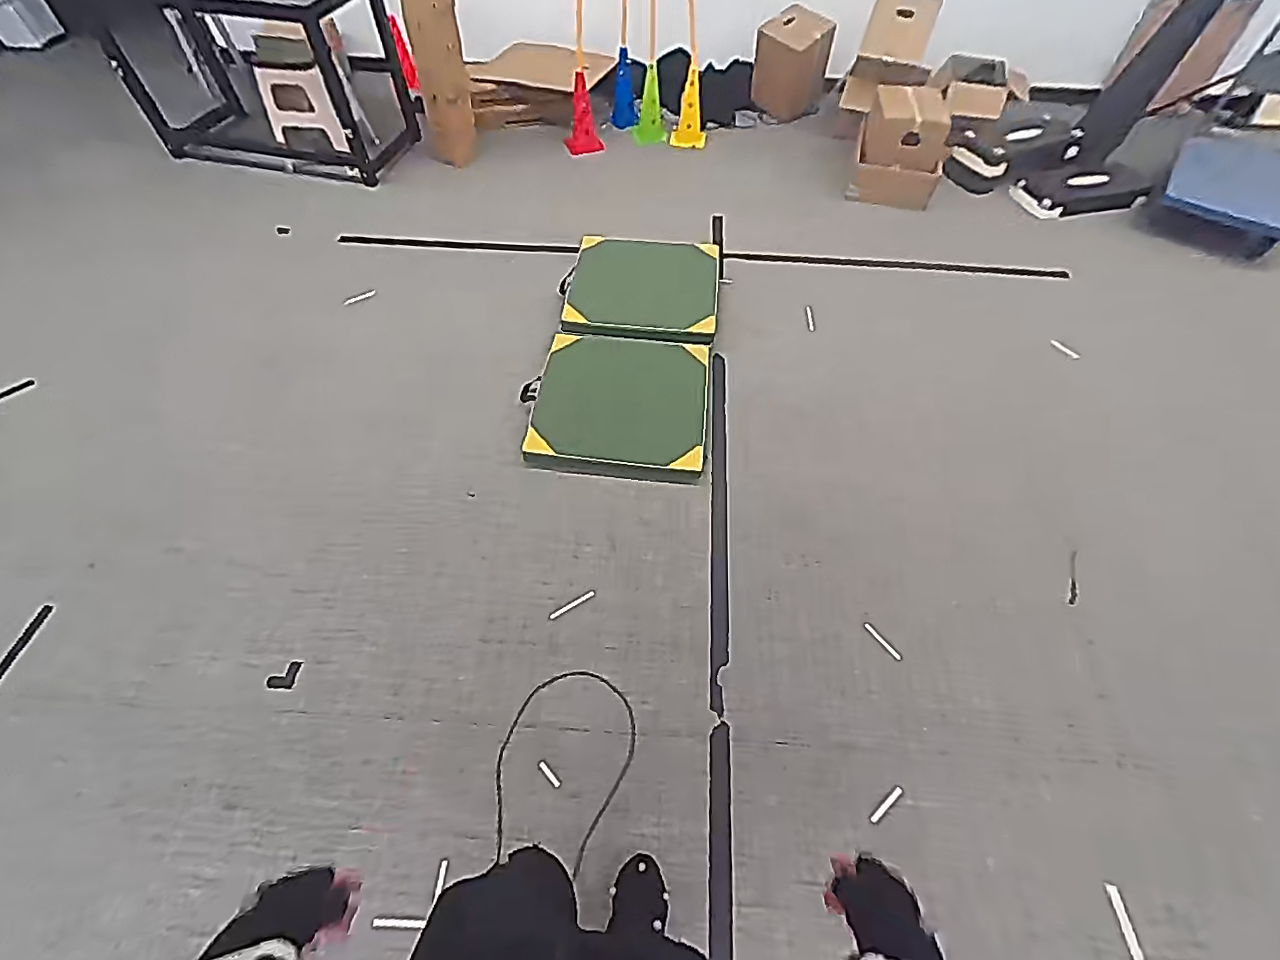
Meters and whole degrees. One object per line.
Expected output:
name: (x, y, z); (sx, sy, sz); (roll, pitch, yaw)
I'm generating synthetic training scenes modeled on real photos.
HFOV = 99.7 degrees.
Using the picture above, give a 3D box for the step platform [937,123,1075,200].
step platform: (1.989, -1.737, 2.936); (0.684, 0.204, 0.286); (-20, 59, -14)
